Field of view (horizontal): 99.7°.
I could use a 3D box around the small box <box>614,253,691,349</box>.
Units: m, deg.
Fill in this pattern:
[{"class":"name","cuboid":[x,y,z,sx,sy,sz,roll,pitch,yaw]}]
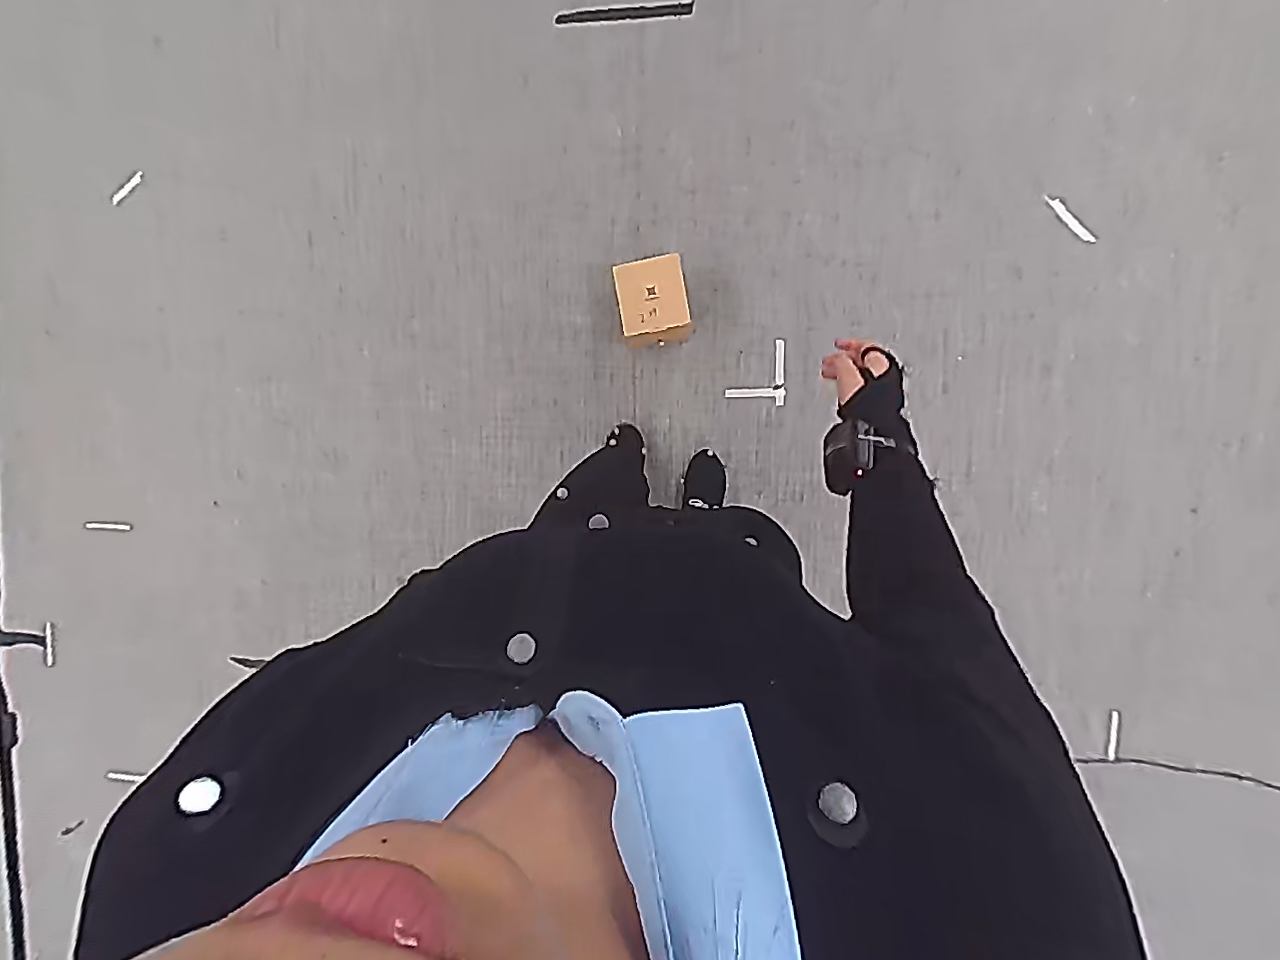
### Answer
[{"class":"small box","cuboid":[0.035,-0.447,1.376,0.168,0.176,0.179,-10,93,7]}]
